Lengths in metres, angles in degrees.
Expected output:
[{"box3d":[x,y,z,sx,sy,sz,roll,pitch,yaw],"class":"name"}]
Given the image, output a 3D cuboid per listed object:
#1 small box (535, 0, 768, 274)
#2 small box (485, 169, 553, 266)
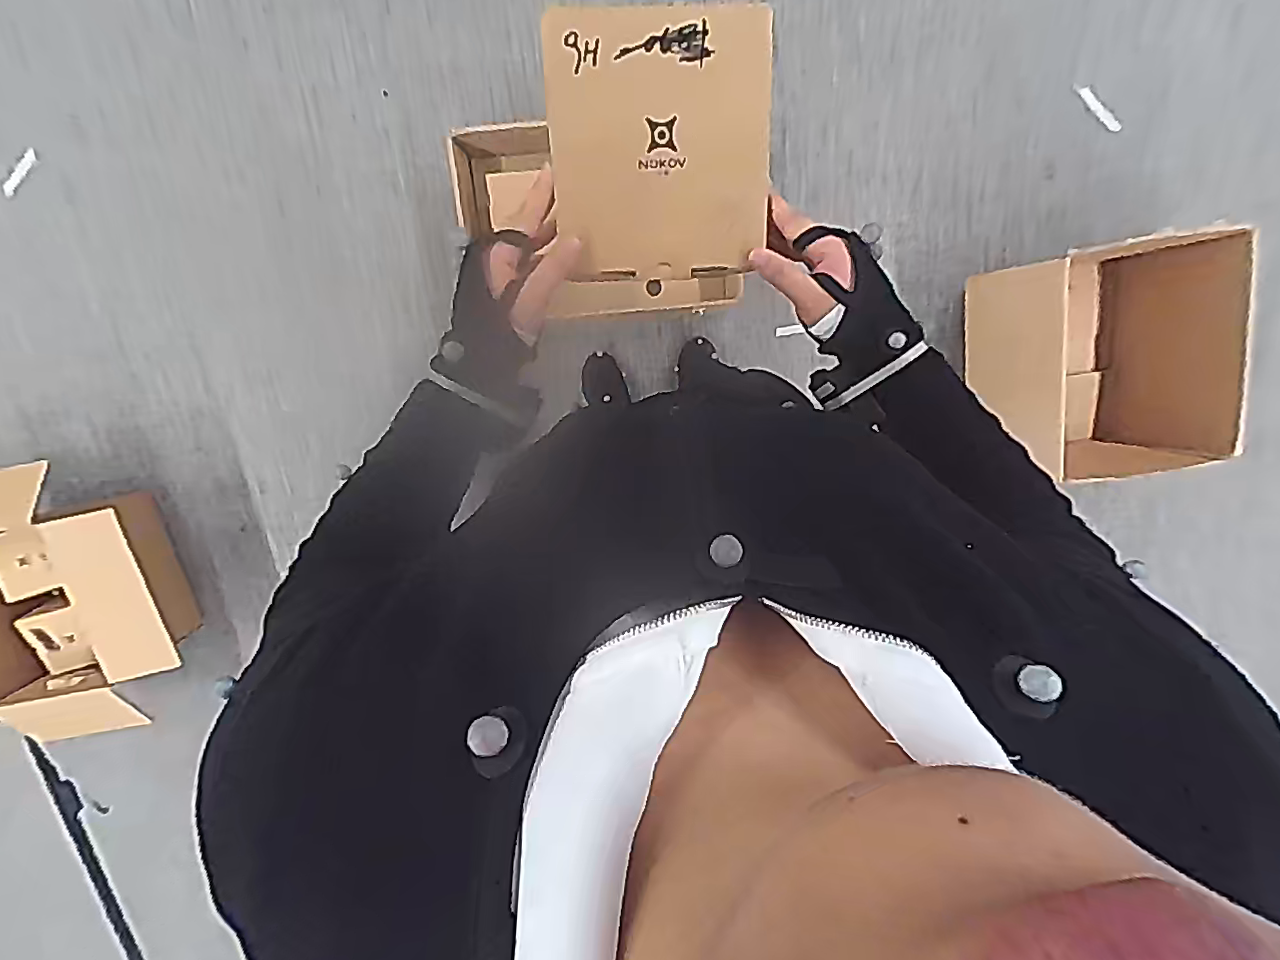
[{"box3d":[0.006,-0.278,0.478,0.168,0.176,0.179,-3,110,-3],"class":"small box"},{"box3d":[-0.236,-0.589,1.228,0.179,0.176,0.168,-6,105,-3],"class":"small box"}]
